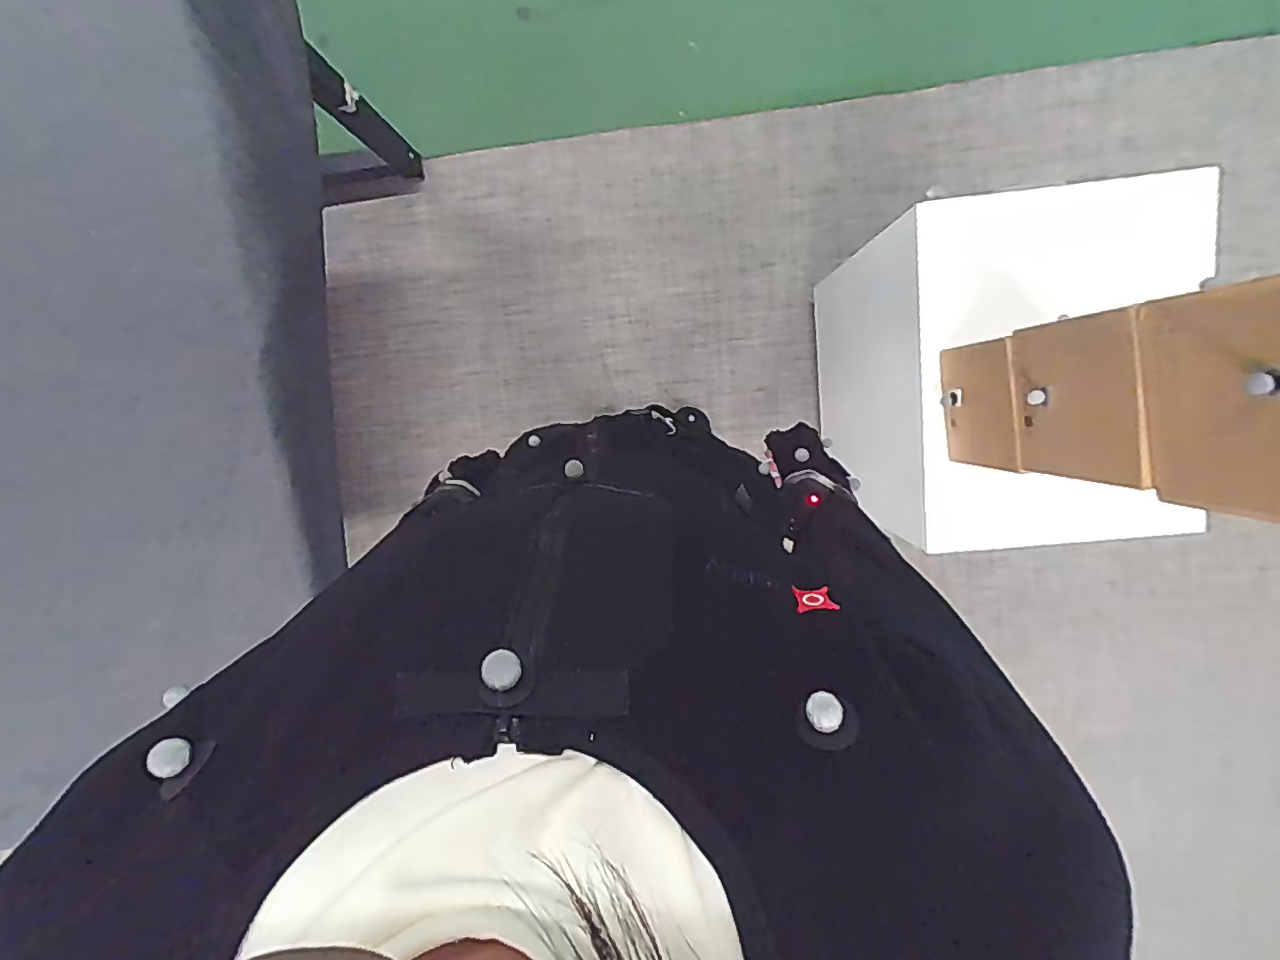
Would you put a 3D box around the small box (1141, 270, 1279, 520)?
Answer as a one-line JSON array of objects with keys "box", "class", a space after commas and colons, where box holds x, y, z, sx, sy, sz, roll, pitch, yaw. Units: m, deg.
[{"box": [0.500, -0.067, 0.372, 0.168, 0.176, 0.179, -11, 96, 5], "class": "small box"}]

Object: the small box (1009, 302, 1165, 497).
[{"box": [0.511, -0.091, 0.534, 0.179, 0.176, 0.168, -12, 97, 3], "class": "small box"}]

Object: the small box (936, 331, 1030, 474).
[{"box": [0.516, -0.110, 0.697, 0.179, 0.176, 0.168, -9, 97, 6], "class": "small box"}]
